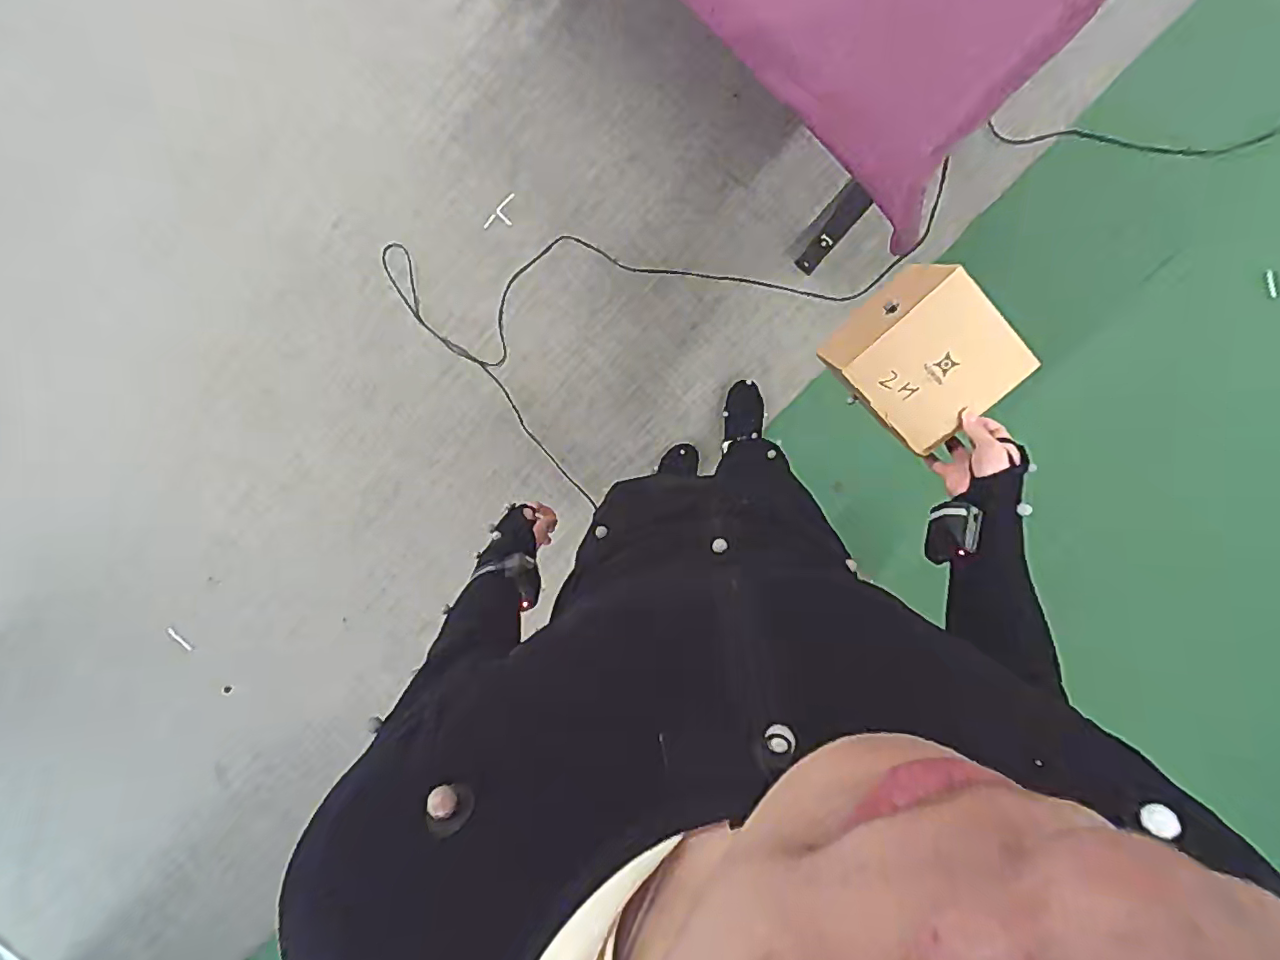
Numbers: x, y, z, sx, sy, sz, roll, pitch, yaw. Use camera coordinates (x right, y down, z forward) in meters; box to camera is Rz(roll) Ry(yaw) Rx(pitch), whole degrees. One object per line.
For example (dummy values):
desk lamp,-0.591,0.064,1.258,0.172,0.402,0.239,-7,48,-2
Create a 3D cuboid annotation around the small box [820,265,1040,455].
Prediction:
small box,0.374,-0.171,0.735,0.168,0.176,0.179,43,110,-11
